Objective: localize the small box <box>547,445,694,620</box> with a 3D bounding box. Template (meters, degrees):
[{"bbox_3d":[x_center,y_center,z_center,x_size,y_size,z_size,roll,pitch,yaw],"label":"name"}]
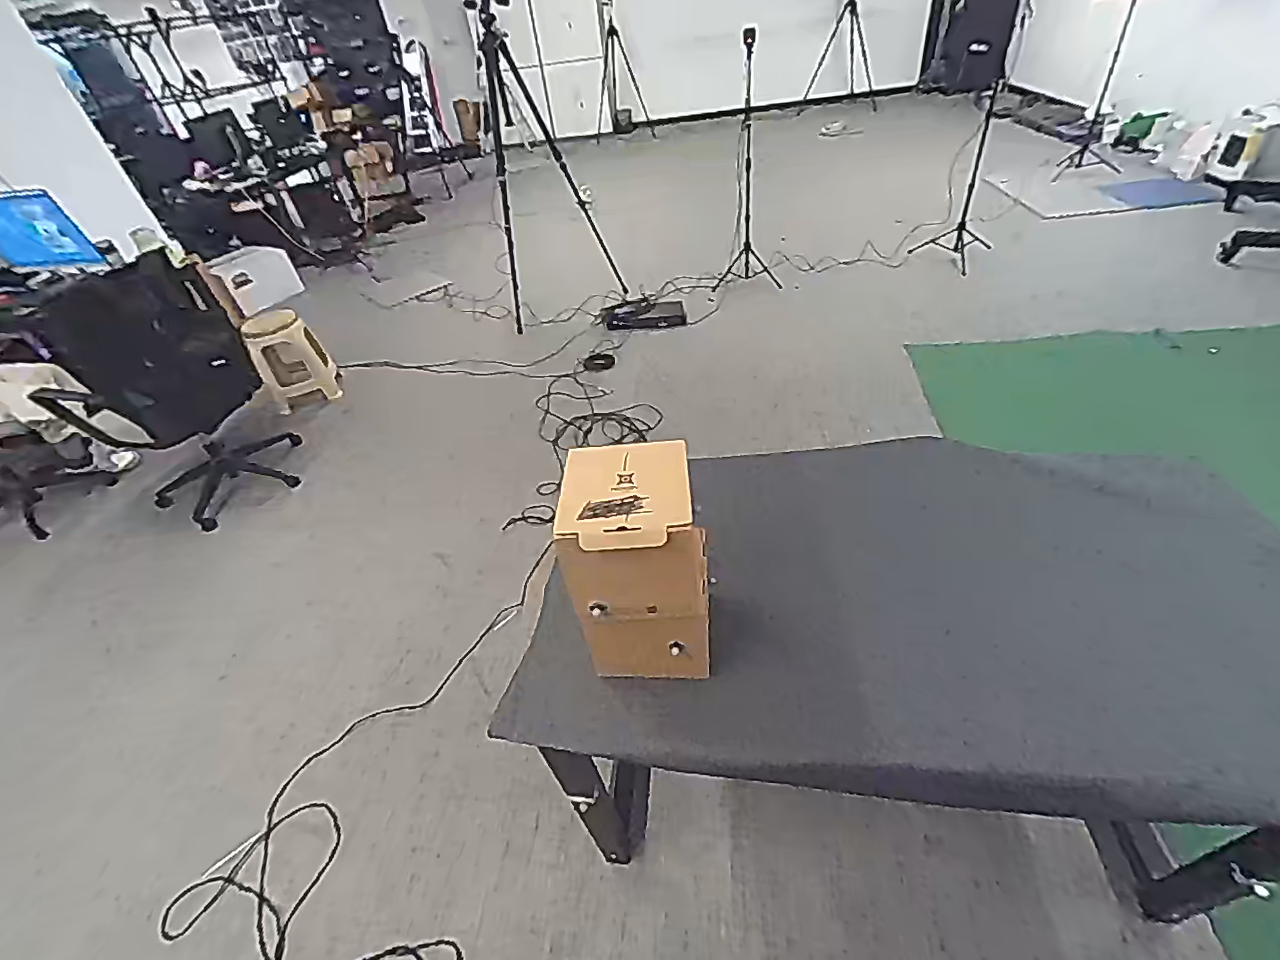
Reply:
[{"bbox_3d":[-0.017,0.075,0.734,0.168,0.176,0.179,-5,38,5],"label":"small box"}]

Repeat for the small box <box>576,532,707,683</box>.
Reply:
[{"bbox_3d":[0.014,0.199,0.840,0.179,0.176,0.168,-3,39,9],"label":"small box"}]
